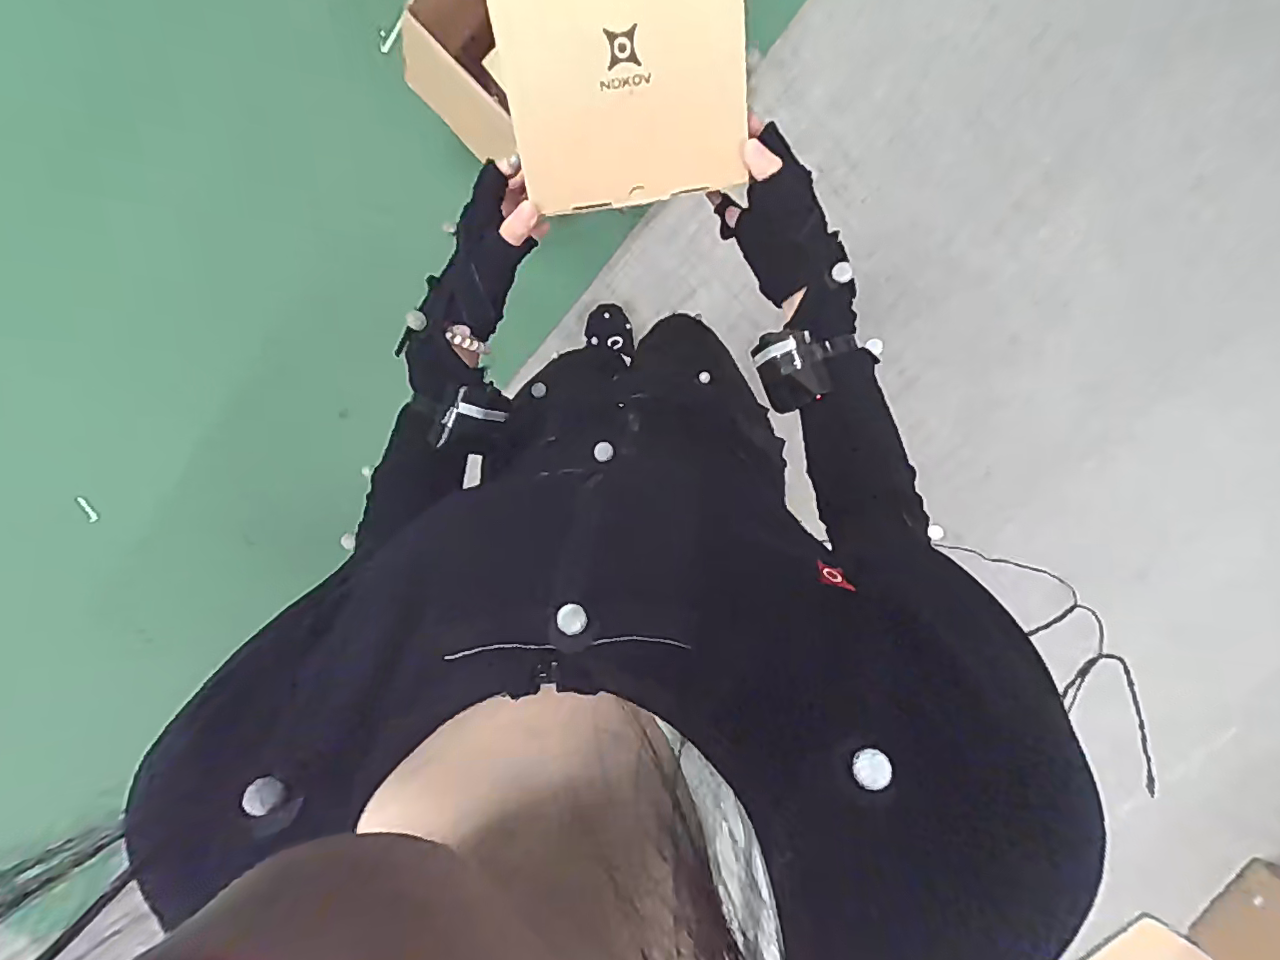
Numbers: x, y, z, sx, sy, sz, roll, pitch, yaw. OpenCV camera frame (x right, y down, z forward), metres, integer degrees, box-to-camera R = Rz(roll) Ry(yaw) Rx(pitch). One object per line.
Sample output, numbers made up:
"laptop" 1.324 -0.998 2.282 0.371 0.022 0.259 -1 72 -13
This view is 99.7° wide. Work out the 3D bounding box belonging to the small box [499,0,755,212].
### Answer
"small box" -0.010 -0.324 0.429 0.168 0.176 0.179 -8 121 1
